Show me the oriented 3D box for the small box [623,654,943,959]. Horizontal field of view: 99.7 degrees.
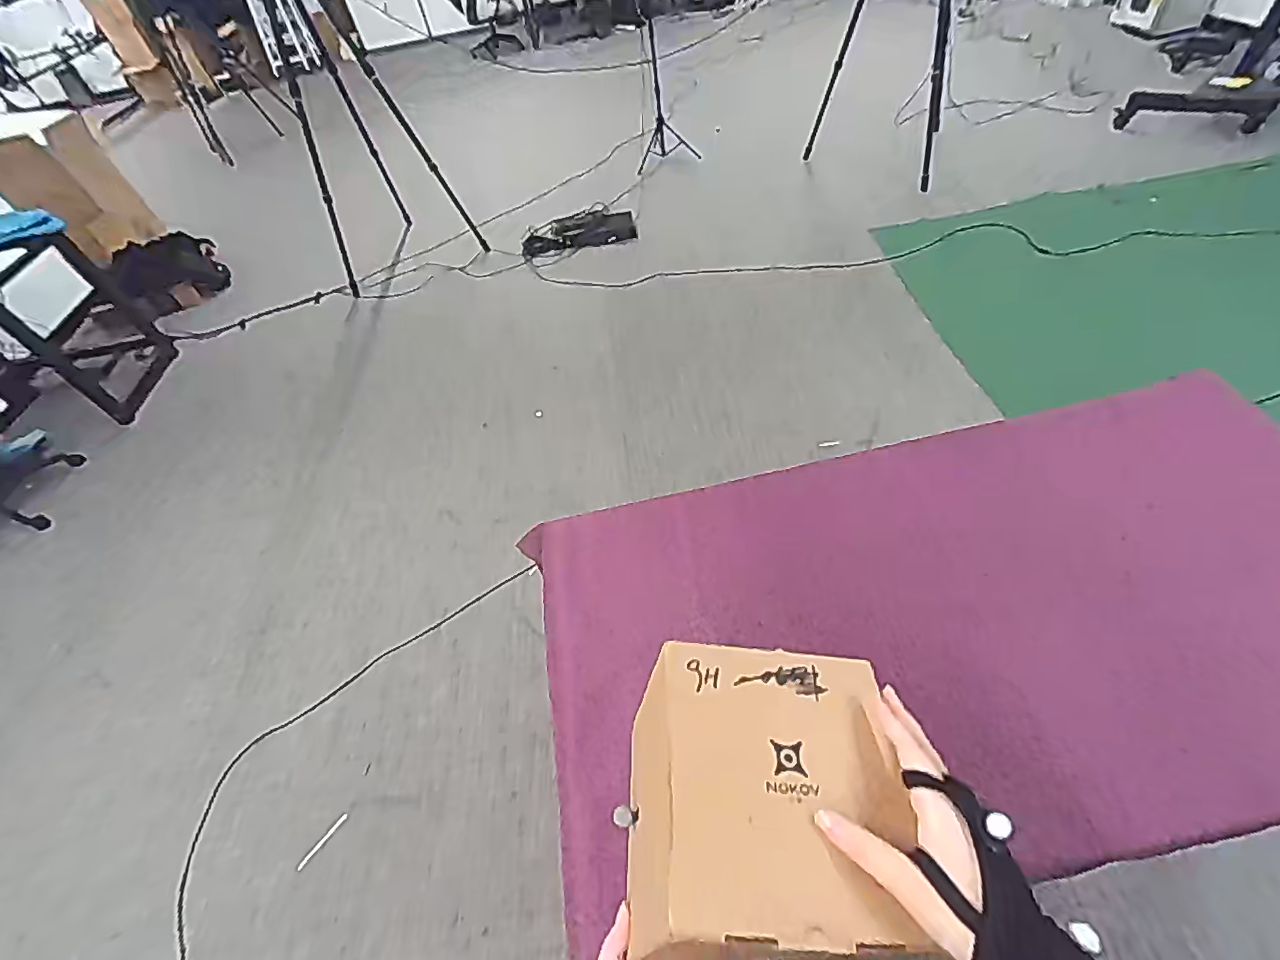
[{"bbox_3d":[0.081,0.258,0.408,0.168,0.176,0.179,8,45,-5],"label":"small box"}]
